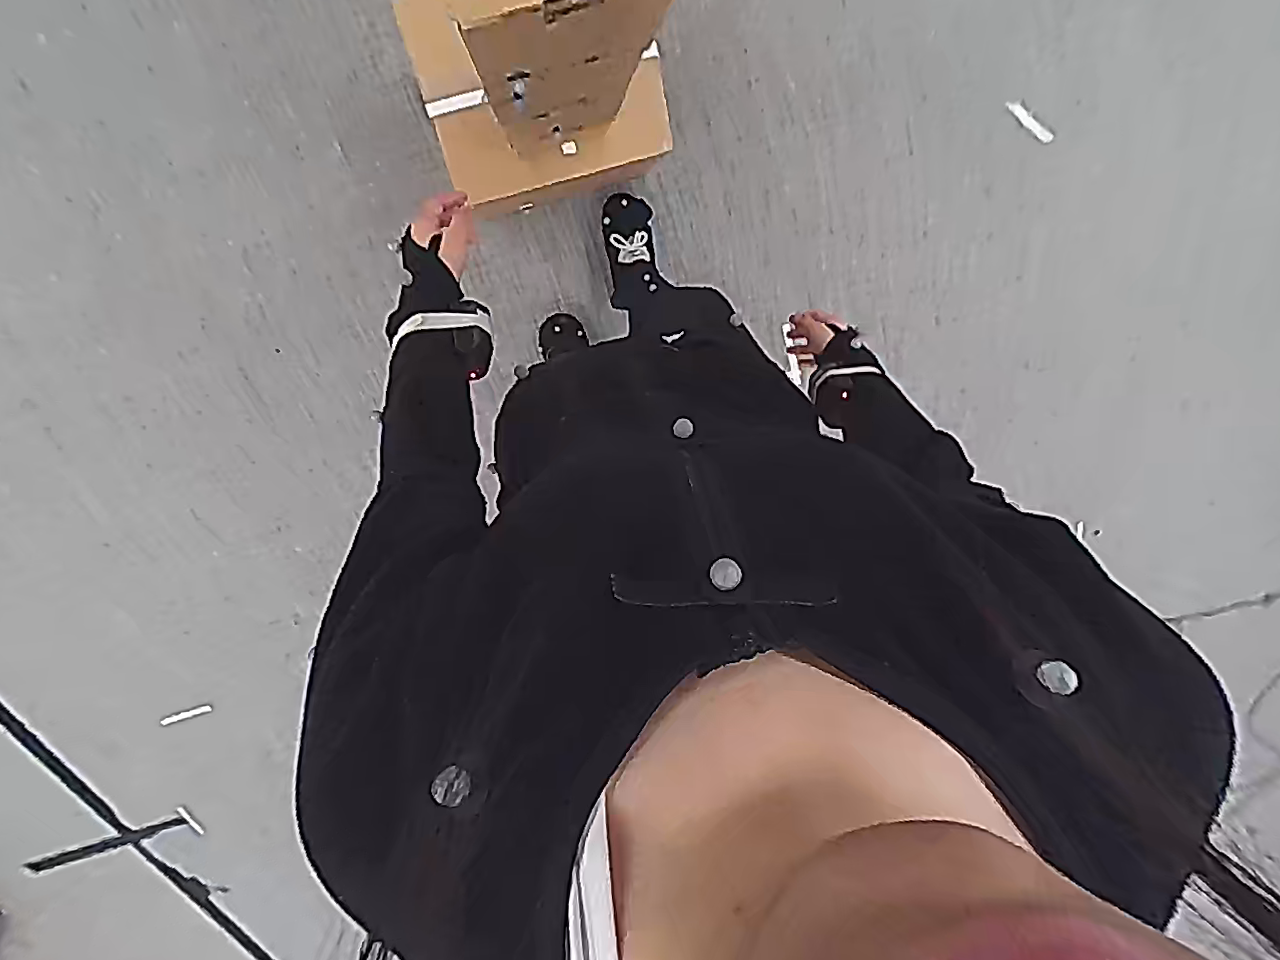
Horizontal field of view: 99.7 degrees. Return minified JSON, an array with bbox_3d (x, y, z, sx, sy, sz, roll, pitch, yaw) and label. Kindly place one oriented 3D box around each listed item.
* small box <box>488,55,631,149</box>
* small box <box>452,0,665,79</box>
[{"bbox_3d":[-0.121,-0.565,0.710,0.168,0.176,0.179,-18,115,-1],"label":"small box"},{"bbox_3d":[-0.074,-0.437,0.411,0.168,0.176,0.179,-16,114,-2],"label":"small box"}]
